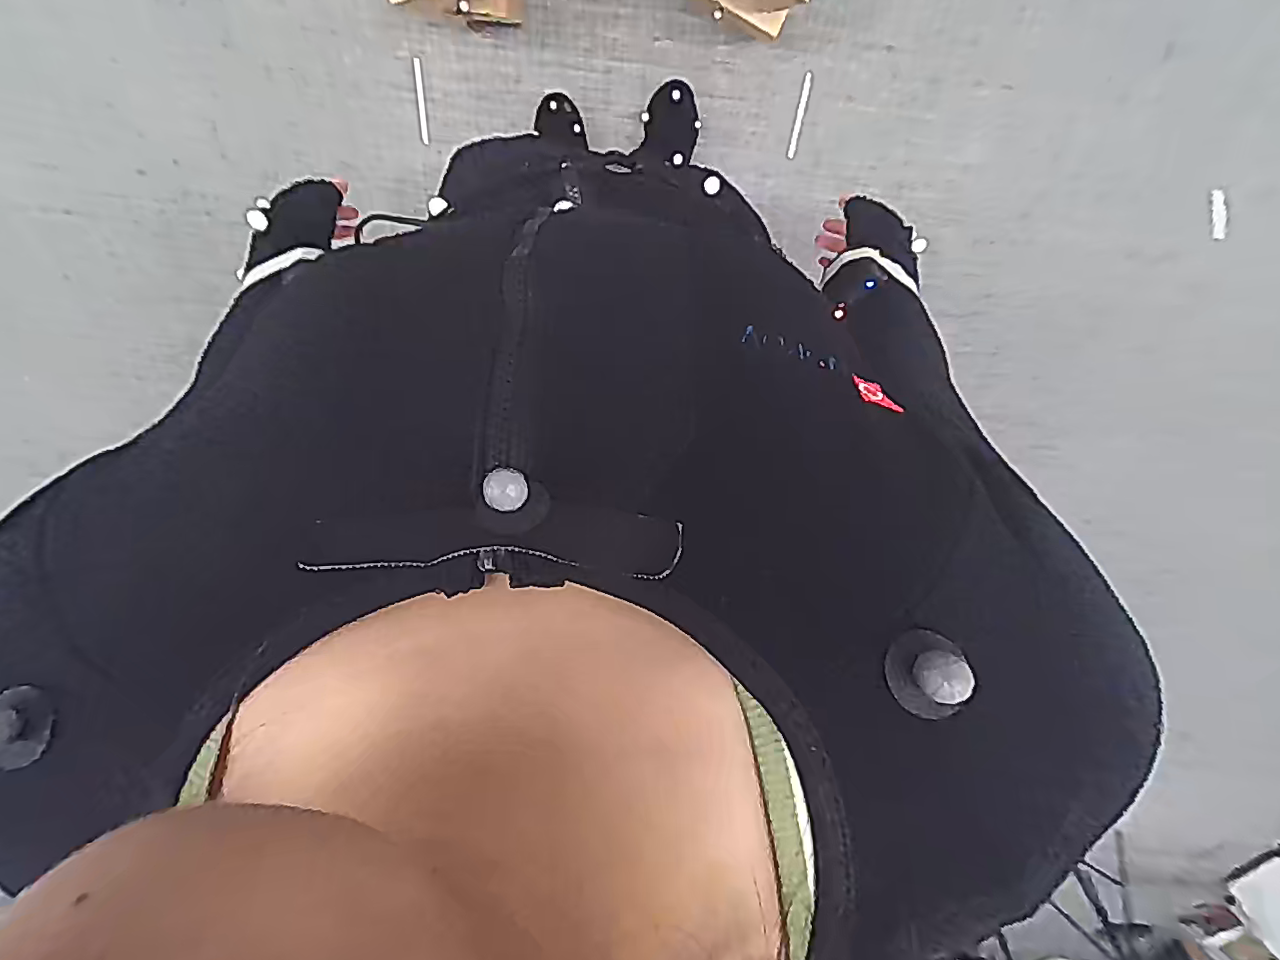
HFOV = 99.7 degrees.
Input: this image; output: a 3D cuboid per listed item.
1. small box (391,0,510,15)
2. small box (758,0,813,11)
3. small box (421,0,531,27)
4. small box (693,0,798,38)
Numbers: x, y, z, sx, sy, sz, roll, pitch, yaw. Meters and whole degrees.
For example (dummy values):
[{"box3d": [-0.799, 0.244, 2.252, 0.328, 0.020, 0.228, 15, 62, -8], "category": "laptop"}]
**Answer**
[{"box3d": [-0.299, -0.831, 0.813, 0.168, 0.176, 0.179, -6, 128, 8], "category": "small box"}, {"box3d": [0.199, -0.831, 0.799, 0.179, 0.176, 0.168, 16, 126, -11], "category": "small box"}, {"box3d": [-0.291, -0.920, 0.952, 0.168, 0.176, 0.179, 4, 126, -1], "category": "small box"}, {"box3d": [0.203, -0.908, 0.947, 0.179, 0.176, 0.168, 17, 125, -13], "category": "small box"}]
